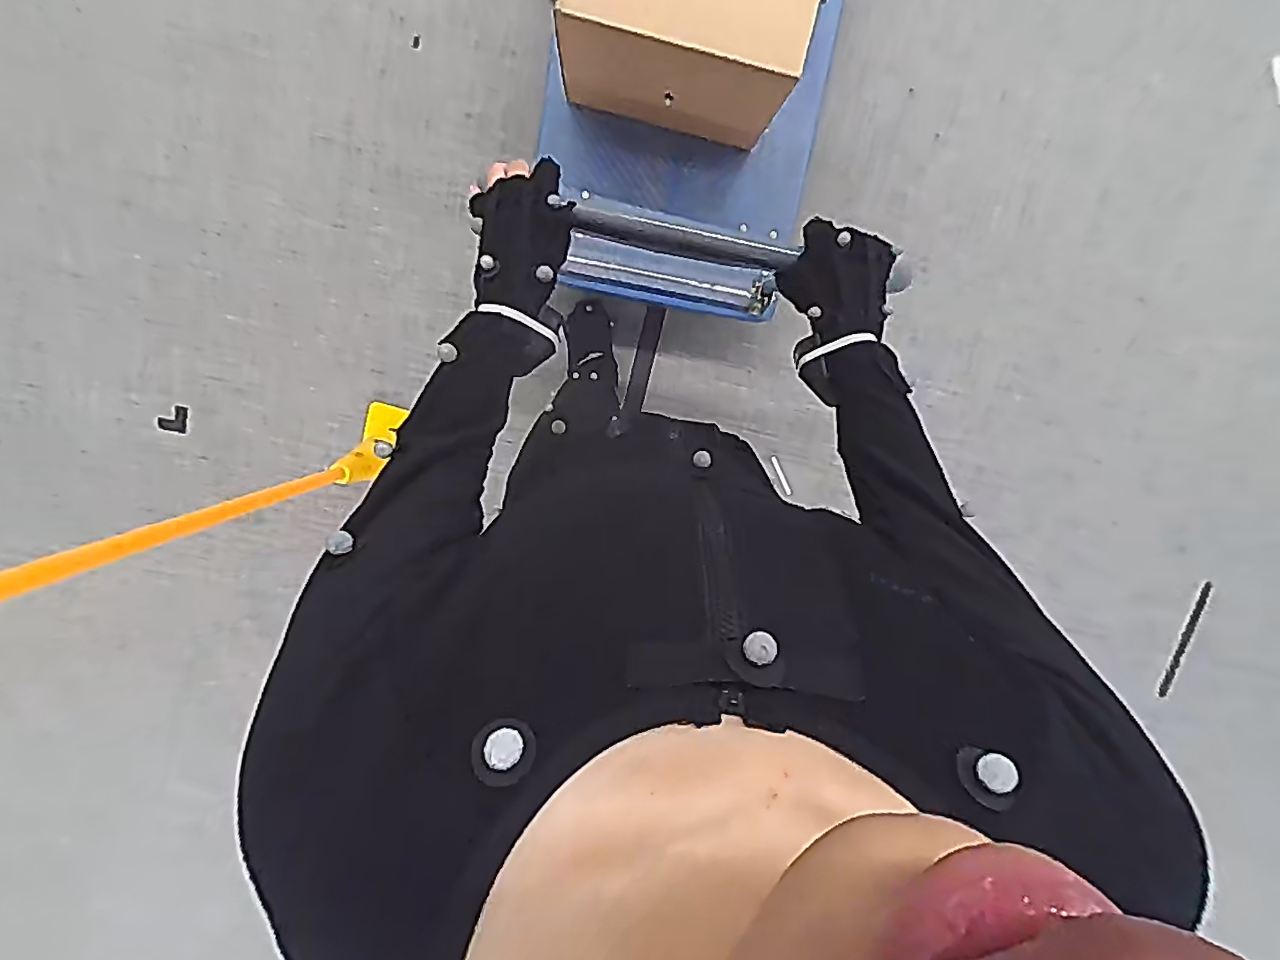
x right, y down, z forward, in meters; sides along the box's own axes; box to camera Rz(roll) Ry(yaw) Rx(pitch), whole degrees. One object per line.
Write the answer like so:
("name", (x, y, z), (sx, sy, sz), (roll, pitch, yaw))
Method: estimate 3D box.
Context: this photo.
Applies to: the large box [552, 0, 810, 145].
("large box", (0.078, -0.866, 0.979), (0.408, 0.320, 0.320), (11, 102, -5))
